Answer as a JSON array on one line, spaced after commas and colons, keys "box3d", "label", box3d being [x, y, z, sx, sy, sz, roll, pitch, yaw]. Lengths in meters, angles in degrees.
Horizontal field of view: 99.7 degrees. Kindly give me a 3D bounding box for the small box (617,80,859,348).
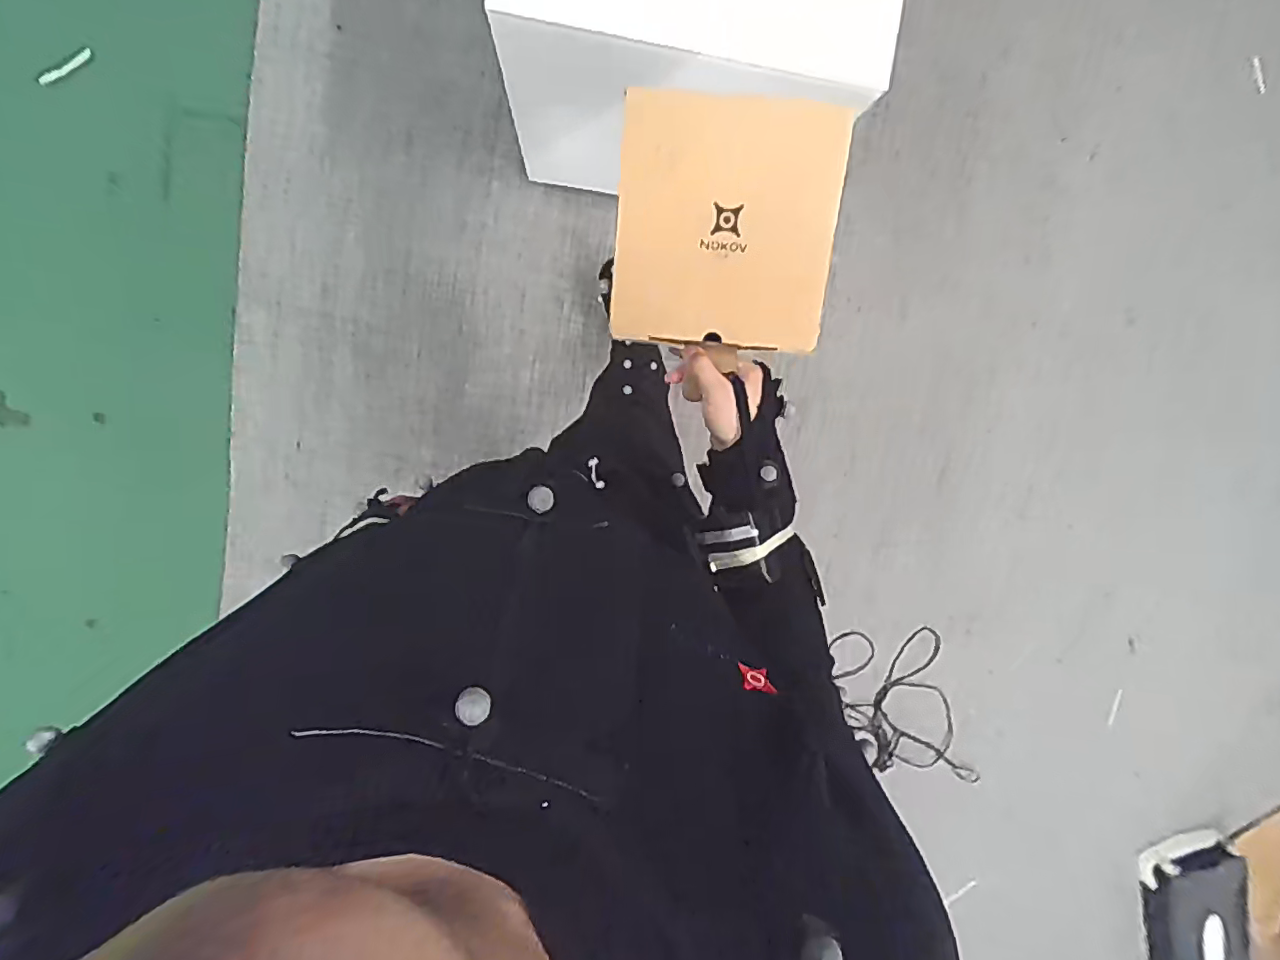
[{"box3d": [0.072, -0.214, 0.482, 0.168, 0.176, 0.179, 5, 105, 1], "label": "small box"}]
